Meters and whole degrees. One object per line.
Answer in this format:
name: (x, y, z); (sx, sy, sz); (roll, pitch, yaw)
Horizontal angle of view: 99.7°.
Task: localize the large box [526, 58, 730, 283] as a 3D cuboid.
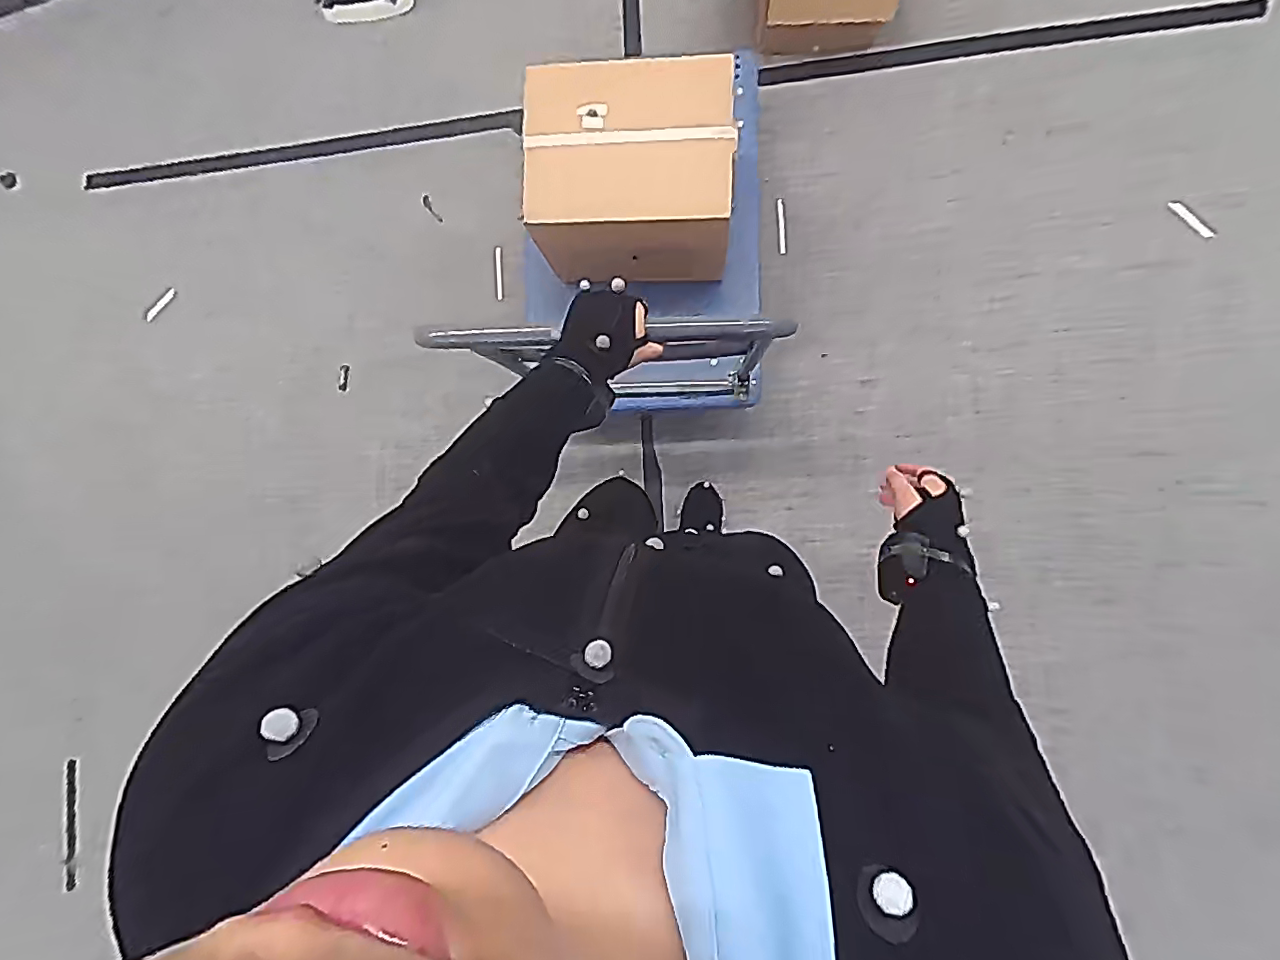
large box: (-0.009, -0.647, 1.195); (0.408, 0.320, 0.320); (1, 88, 7)
